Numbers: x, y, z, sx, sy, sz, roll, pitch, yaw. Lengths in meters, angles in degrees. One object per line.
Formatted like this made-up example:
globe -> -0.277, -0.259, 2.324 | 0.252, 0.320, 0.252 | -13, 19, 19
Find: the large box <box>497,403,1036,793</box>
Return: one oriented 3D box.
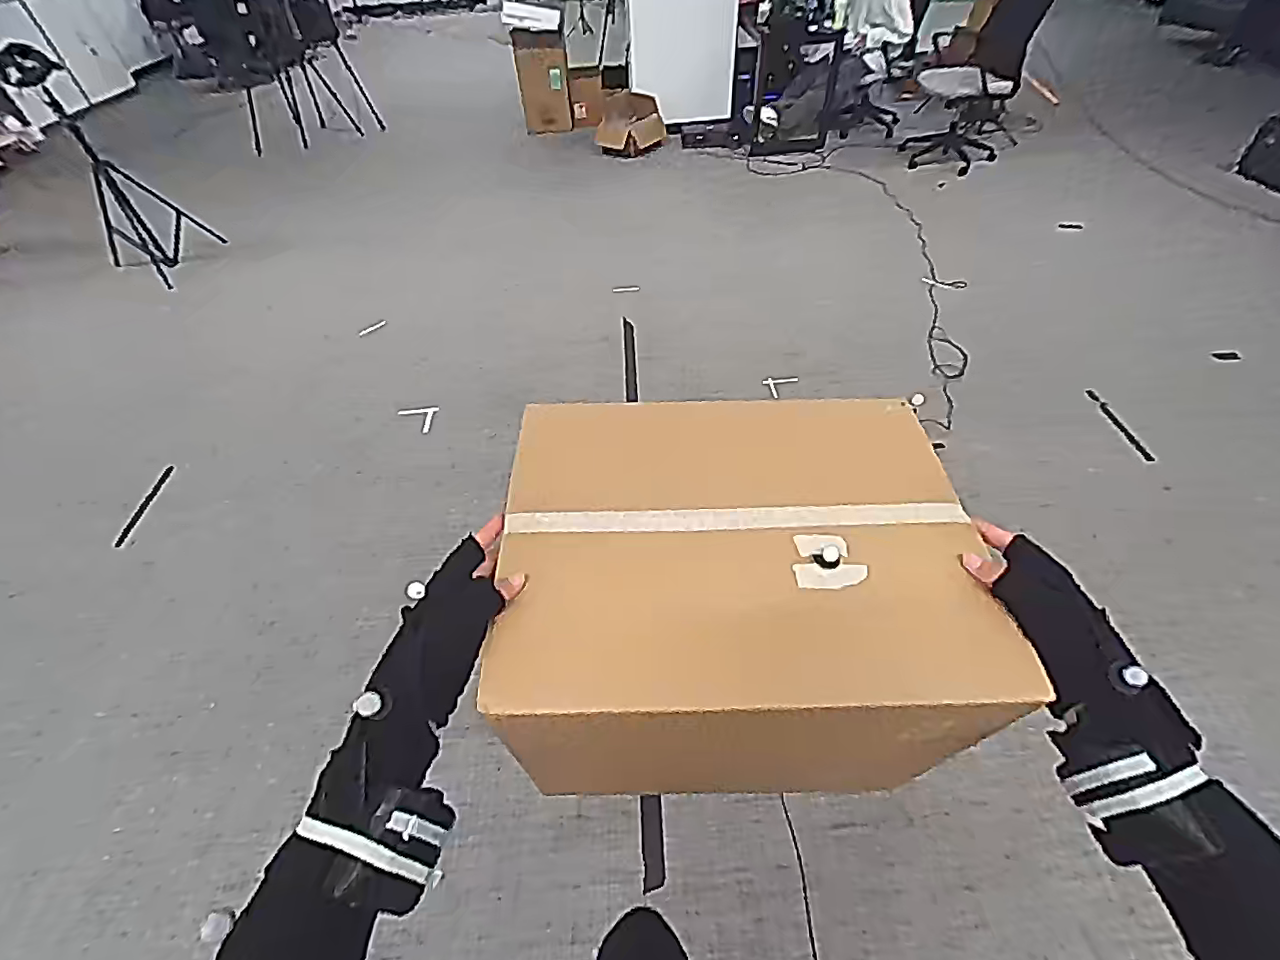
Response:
large box -> 0.086, 0.134, 0.597 | 0.408, 0.320, 0.320 | -1, 51, -1
